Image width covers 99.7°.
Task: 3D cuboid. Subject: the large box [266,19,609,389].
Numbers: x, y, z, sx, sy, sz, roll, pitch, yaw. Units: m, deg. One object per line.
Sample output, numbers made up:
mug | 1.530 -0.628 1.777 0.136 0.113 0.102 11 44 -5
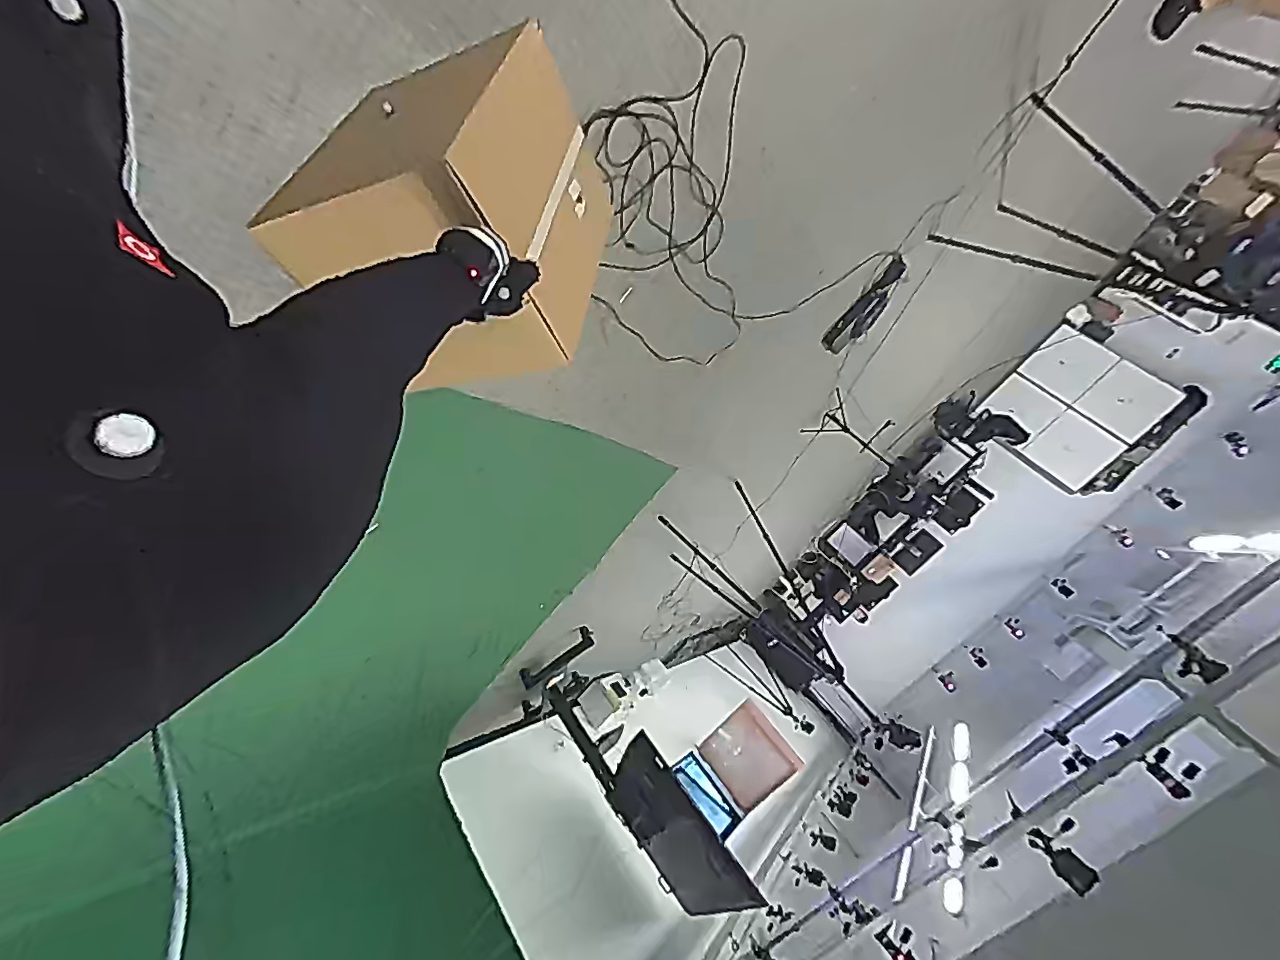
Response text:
large box | -0.273 -0.410 0.852 0.320 0.408 0.320 -5 145 20
